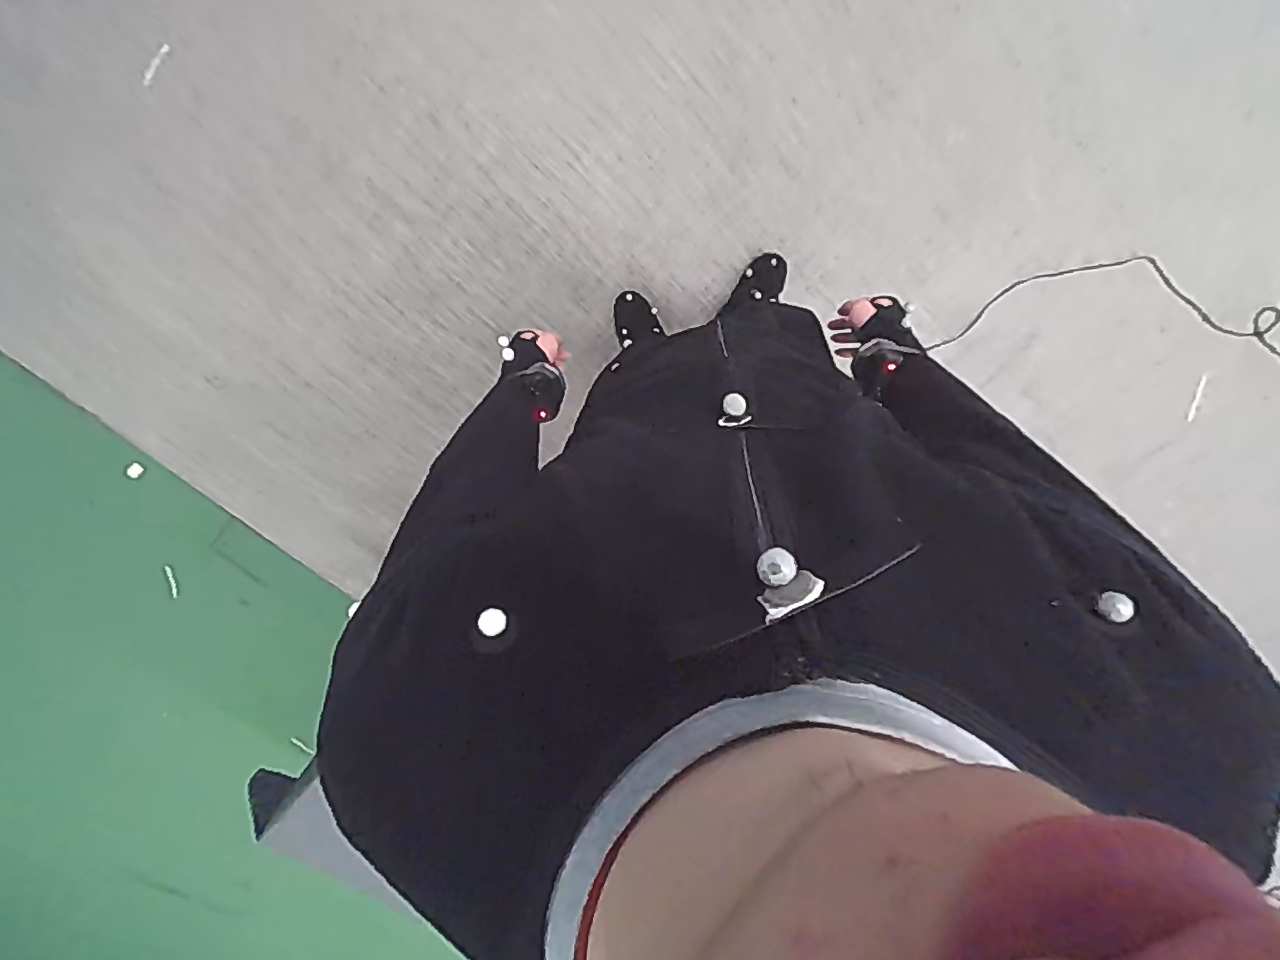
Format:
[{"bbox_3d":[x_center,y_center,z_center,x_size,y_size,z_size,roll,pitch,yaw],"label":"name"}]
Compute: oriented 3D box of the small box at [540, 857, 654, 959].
[{"bbox_3d":[-0.092,0.935,1.125,0.168,0.176,0.179,42,106,-16],"label":"small box"}]
